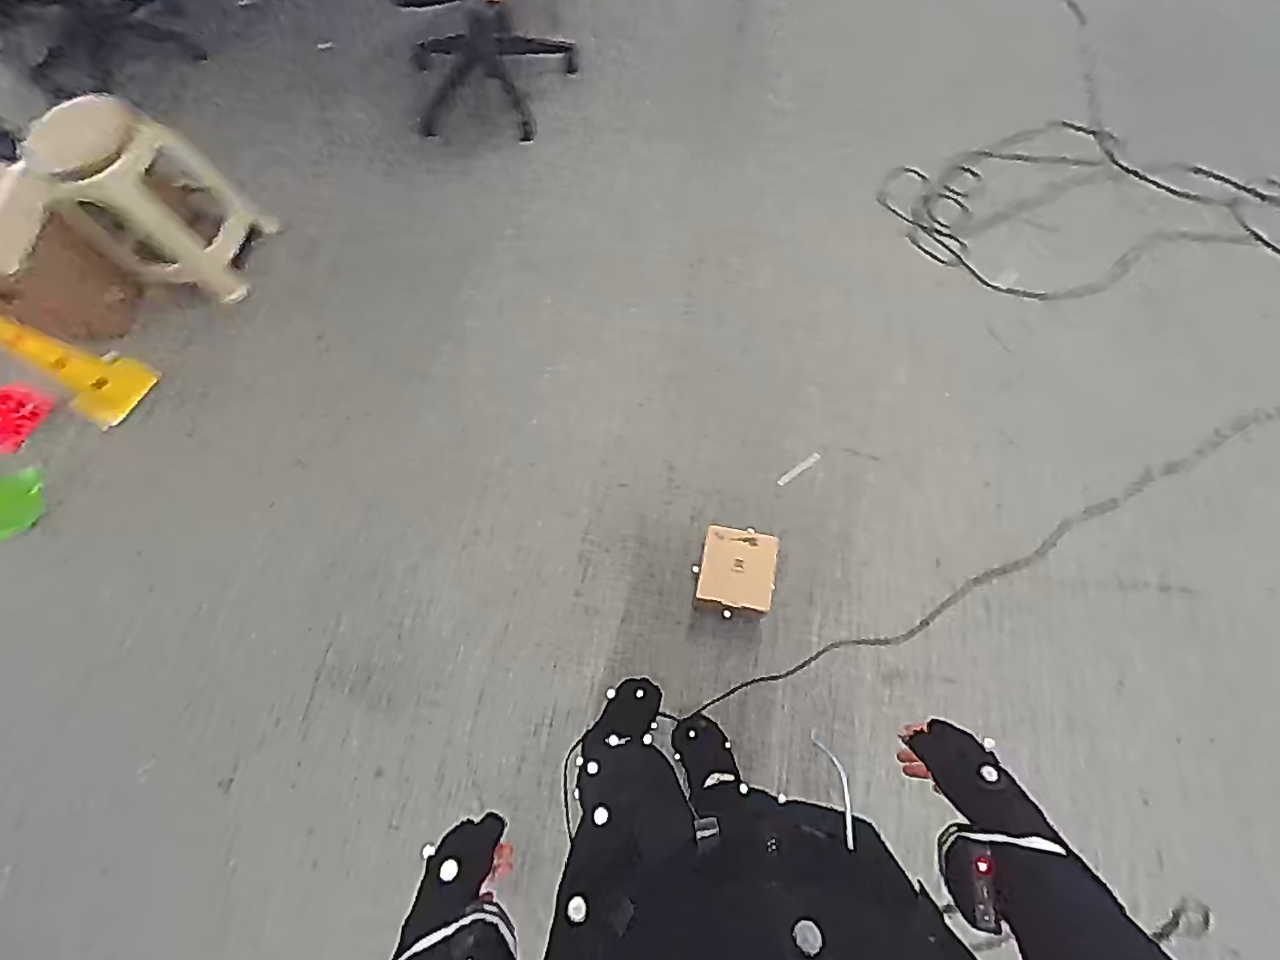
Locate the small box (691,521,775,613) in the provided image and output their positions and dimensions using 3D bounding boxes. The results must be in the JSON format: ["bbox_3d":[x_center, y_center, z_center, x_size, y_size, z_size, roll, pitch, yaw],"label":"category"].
[{"bbox_3d":[0.218,0.215,1.301,0.168,0.176,0.179,10,72,7],"label":"small box"}]
